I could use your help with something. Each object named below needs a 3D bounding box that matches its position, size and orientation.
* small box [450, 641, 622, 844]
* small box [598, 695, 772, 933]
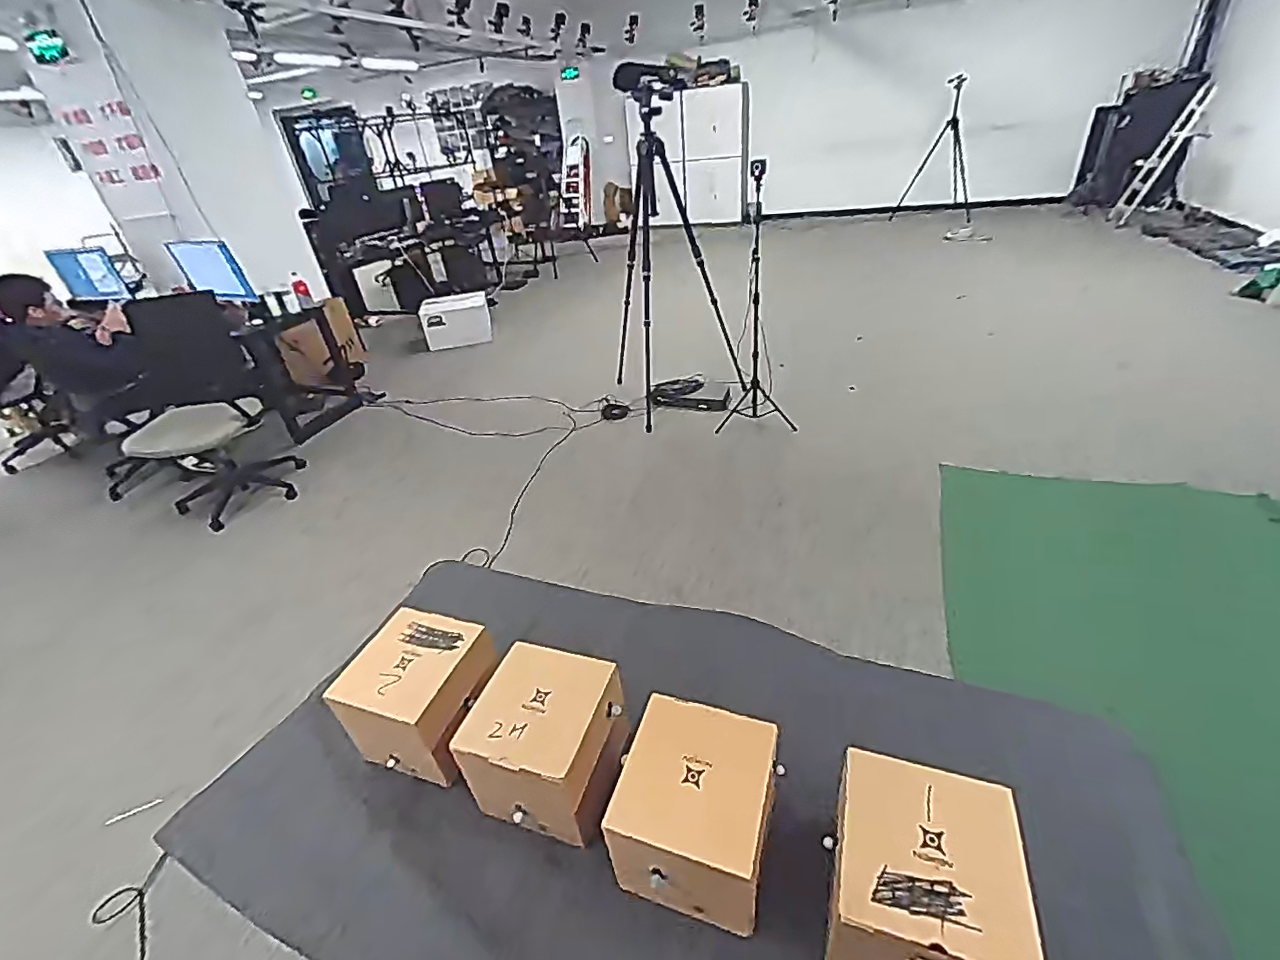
[{"bbox_3d":[-0.131,0.364,0.764,0.168,0.176,0.179,6,35,19],"label":"small box"},{"bbox_3d":[0.067,0.407,0.668,0.168,0.176,0.179,7,35,20],"label":"small box"}]
